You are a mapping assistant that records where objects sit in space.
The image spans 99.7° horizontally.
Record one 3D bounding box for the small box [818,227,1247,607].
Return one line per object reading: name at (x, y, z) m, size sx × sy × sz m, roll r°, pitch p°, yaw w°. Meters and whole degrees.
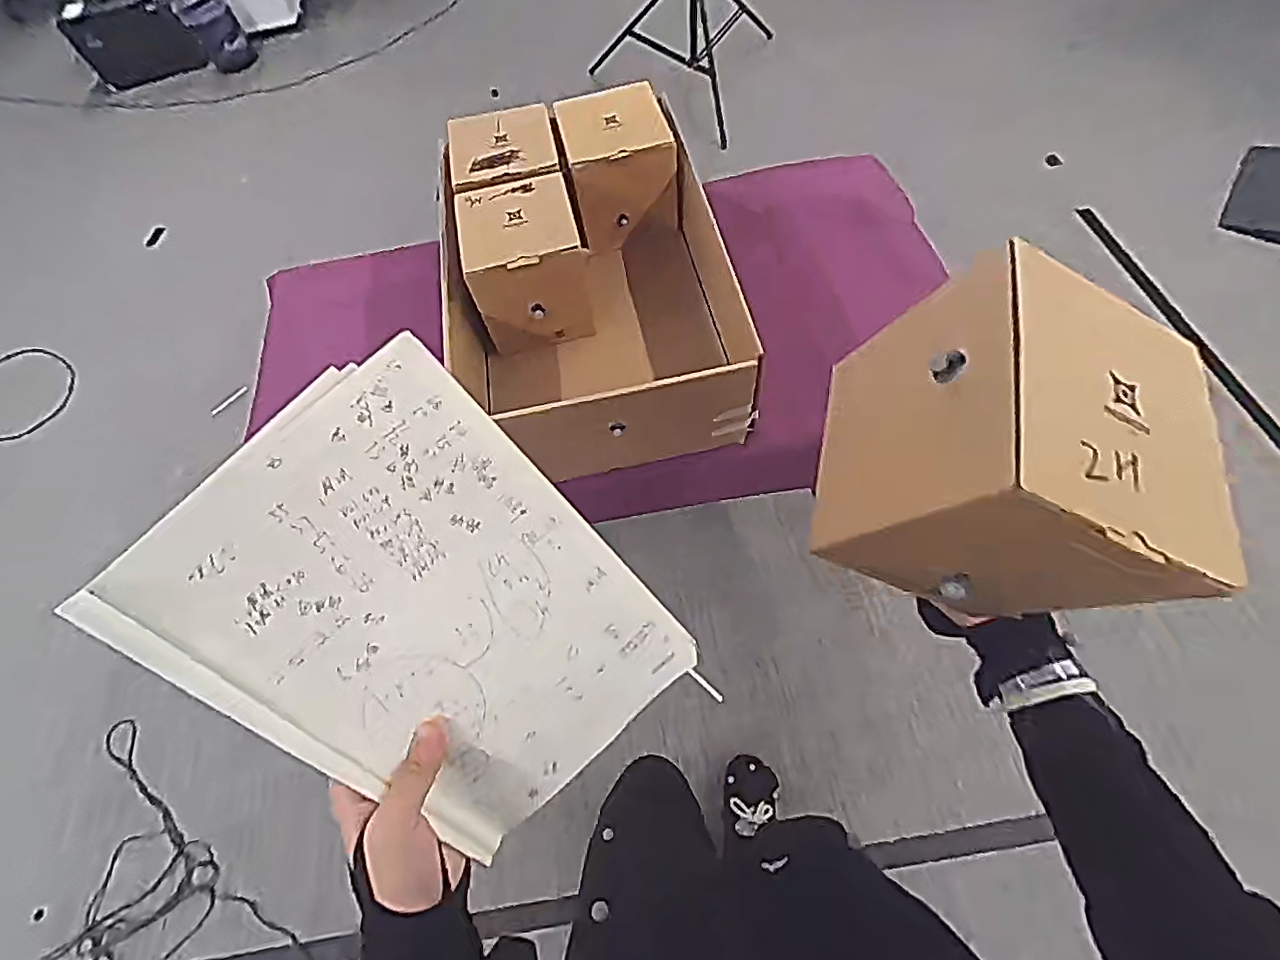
small box at (0.248, -0.024, 0.379) m, size 0.168 × 0.176 × 0.179 m, roll 22°, pitch 66°, yaw -13°
